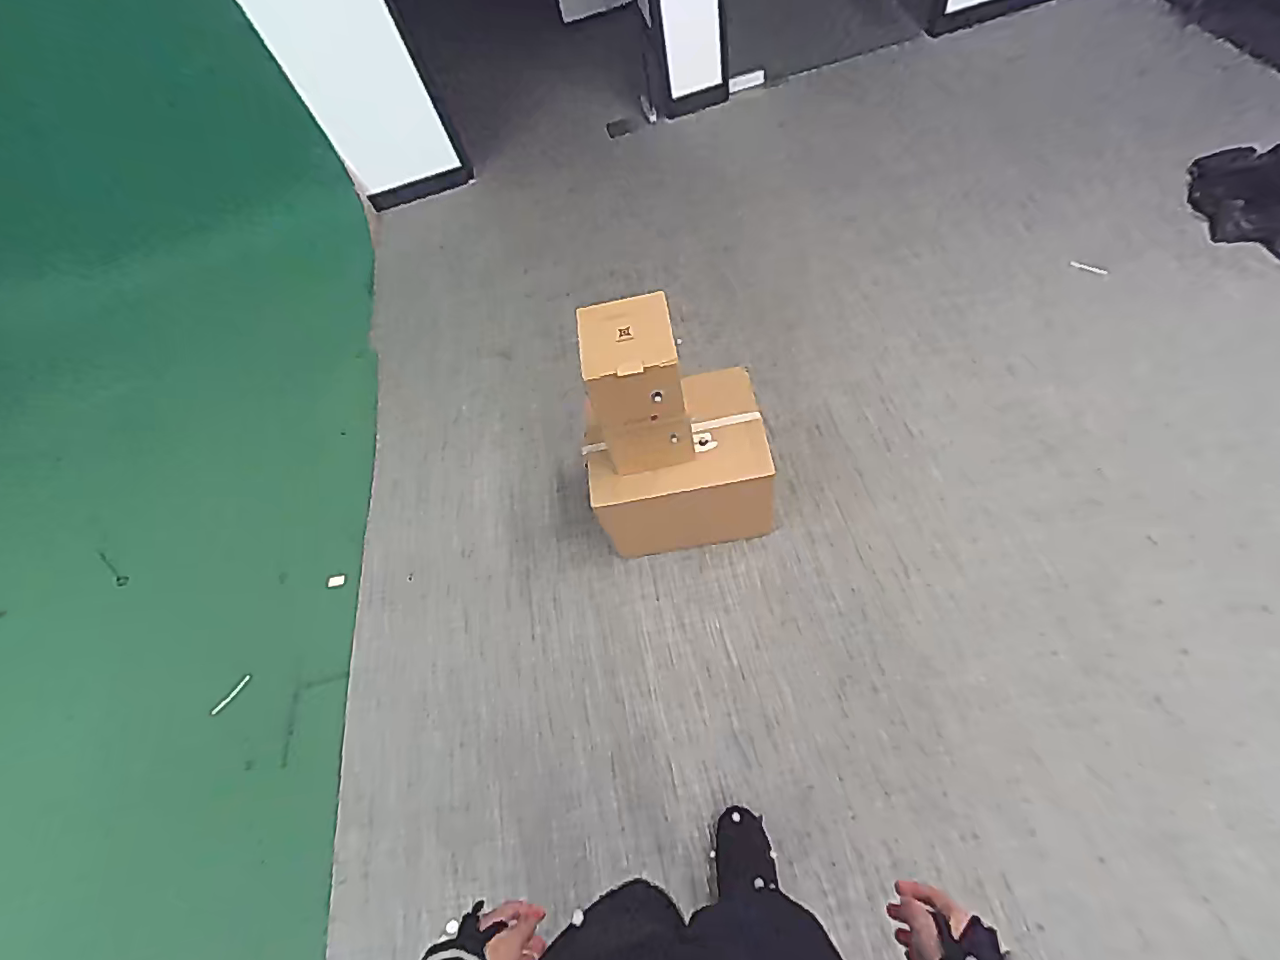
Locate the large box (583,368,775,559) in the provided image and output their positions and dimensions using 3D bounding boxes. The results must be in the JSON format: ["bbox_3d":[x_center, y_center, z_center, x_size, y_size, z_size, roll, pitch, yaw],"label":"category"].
[{"bbox_3d":[0.096,-0.028,1.356,0.408,0.320,0.320,-10,60,4],"label":"large box"}]

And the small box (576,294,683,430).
[{"bbox_3d":[-0.017,-0.210,1.006,0.168,0.176,0.179,-10,58,3],"label":"small box"}]
